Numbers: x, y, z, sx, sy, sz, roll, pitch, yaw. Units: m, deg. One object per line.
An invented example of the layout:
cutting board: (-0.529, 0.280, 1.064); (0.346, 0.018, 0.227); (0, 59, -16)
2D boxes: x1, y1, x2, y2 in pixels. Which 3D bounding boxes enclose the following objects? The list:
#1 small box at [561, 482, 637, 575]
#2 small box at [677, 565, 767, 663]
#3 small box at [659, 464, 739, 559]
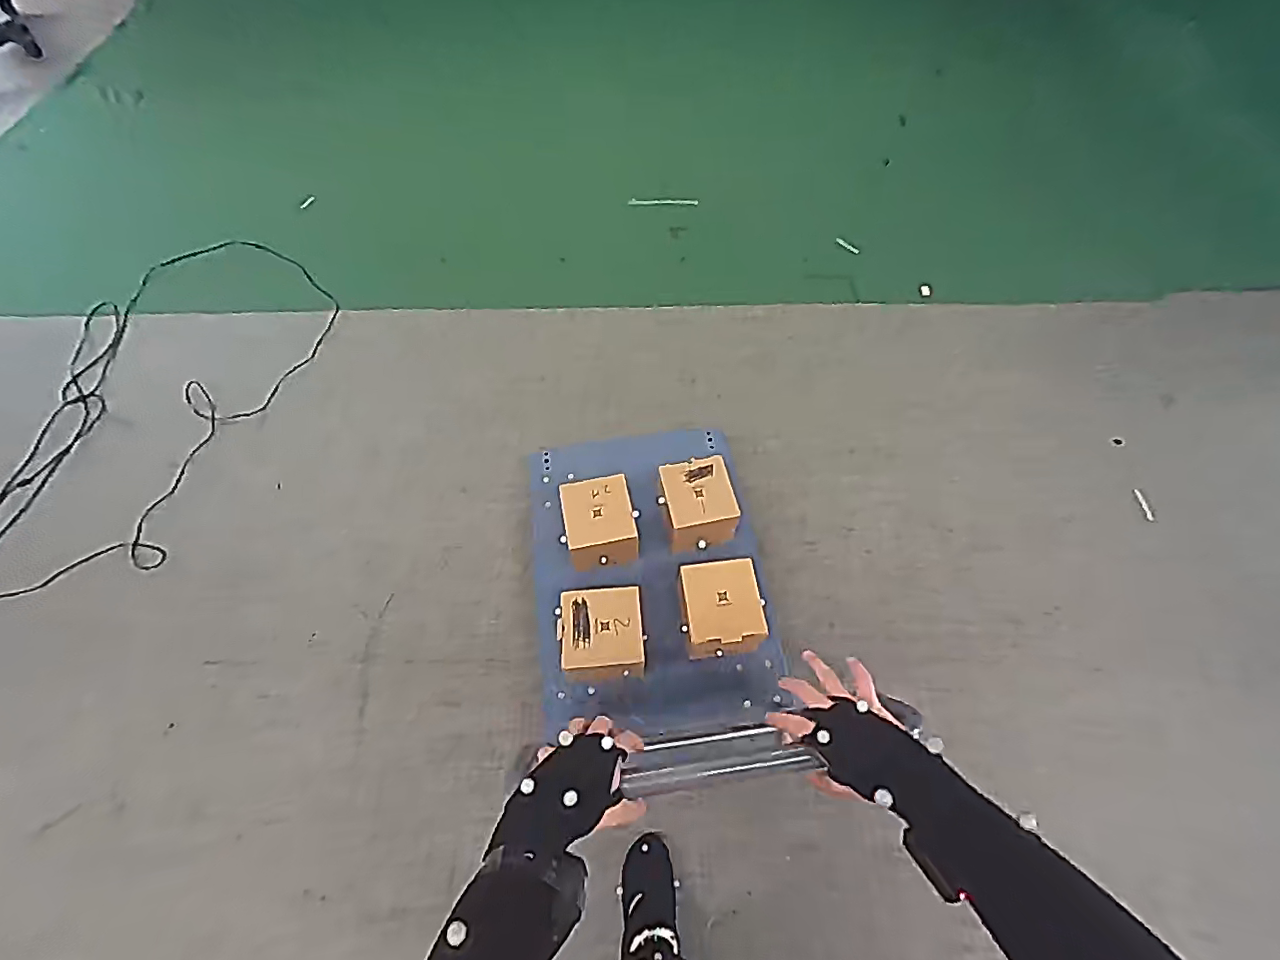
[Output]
small box: (-0.102, 0.132, 1.380); (0.168, 0.176, 0.179); (-10, 61, -6)
small box: (0.184, 0.318, 1.274); (0.168, 0.176, 0.179); (-7, 61, -3)
small box: (0.144, 0.084, 1.405); (0.168, 0.176, 0.179); (-11, 62, -4)
